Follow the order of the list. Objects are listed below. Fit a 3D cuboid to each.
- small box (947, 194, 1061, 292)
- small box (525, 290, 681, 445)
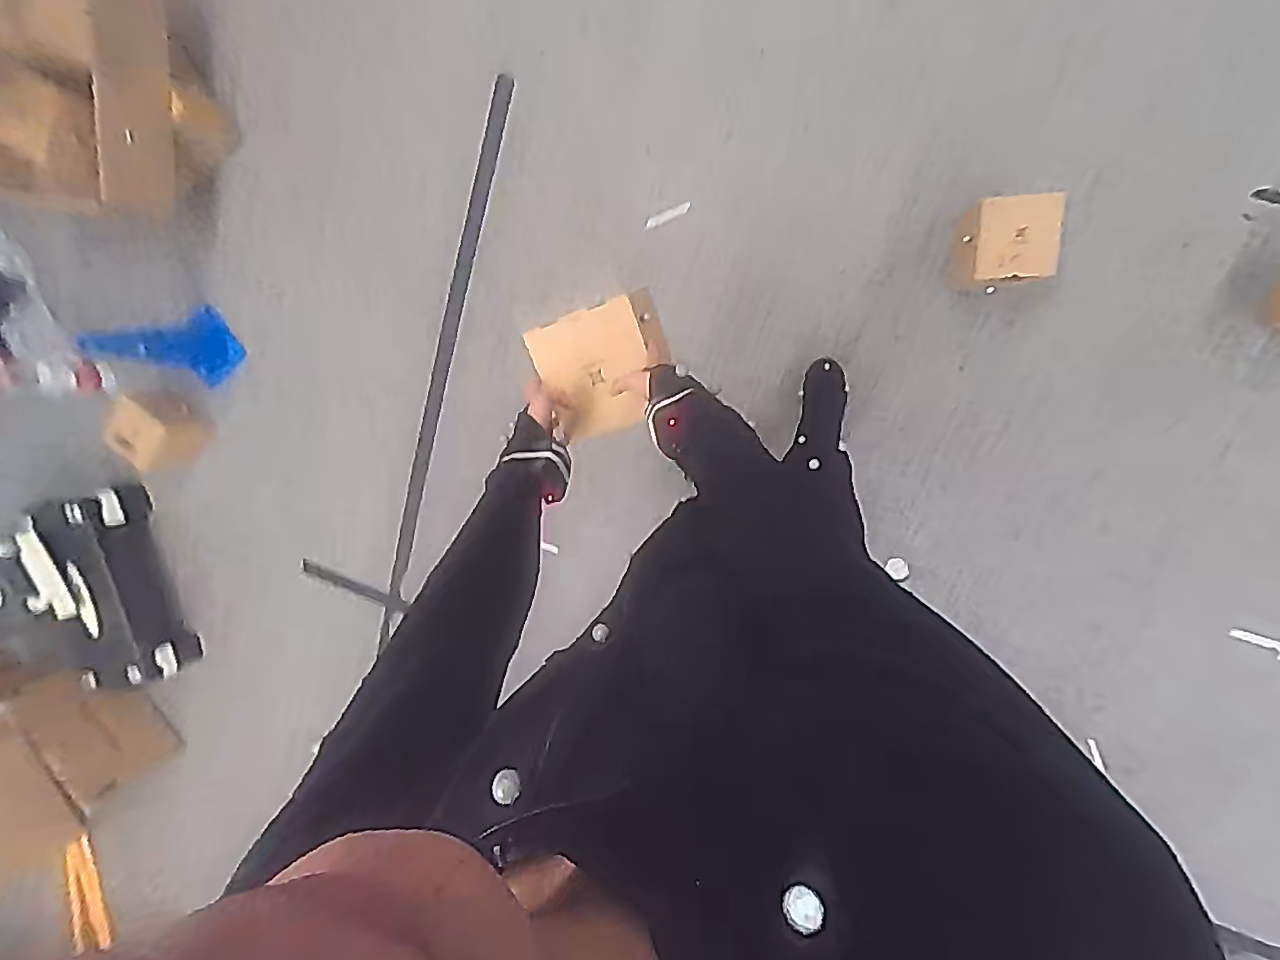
[{"bbox_3d":[0.845,-0.550,1.273,0.168,0.176,0.179,0,101,9],"label":"small box"},{"bbox_3d":[-0.044,-0.178,0.834,0.168,0.176,0.179,-15,108,17],"label":"small box"}]
